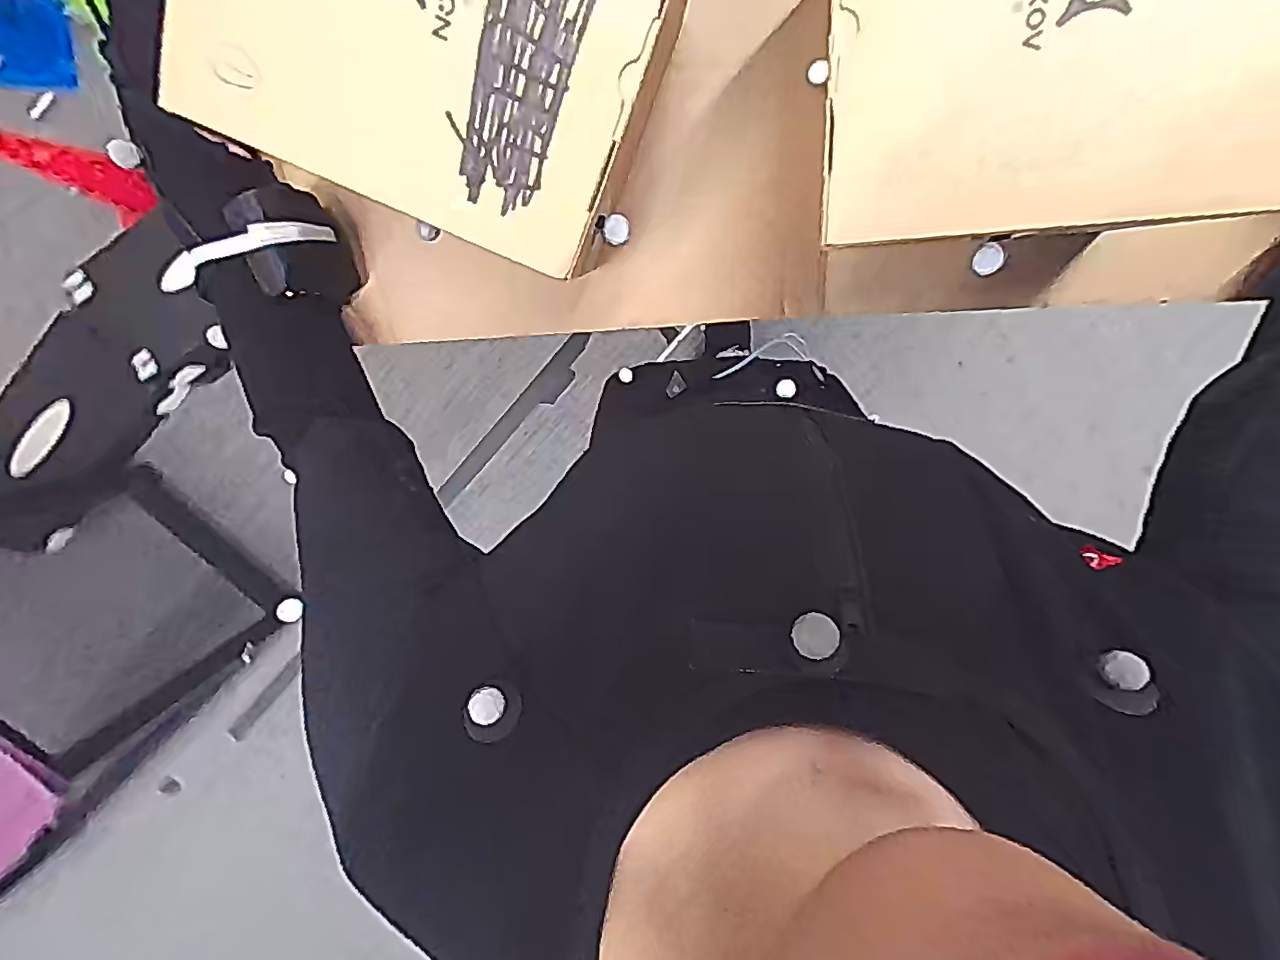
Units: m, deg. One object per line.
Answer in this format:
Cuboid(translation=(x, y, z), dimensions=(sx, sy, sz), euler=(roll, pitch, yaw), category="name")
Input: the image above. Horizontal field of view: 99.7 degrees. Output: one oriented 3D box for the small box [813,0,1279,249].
Cuboid(translation=(0.187, -0.210, 0.270), dimensions=(0.179, 0.176, 0.168), euler=(5, 114, 18), category="small box")
